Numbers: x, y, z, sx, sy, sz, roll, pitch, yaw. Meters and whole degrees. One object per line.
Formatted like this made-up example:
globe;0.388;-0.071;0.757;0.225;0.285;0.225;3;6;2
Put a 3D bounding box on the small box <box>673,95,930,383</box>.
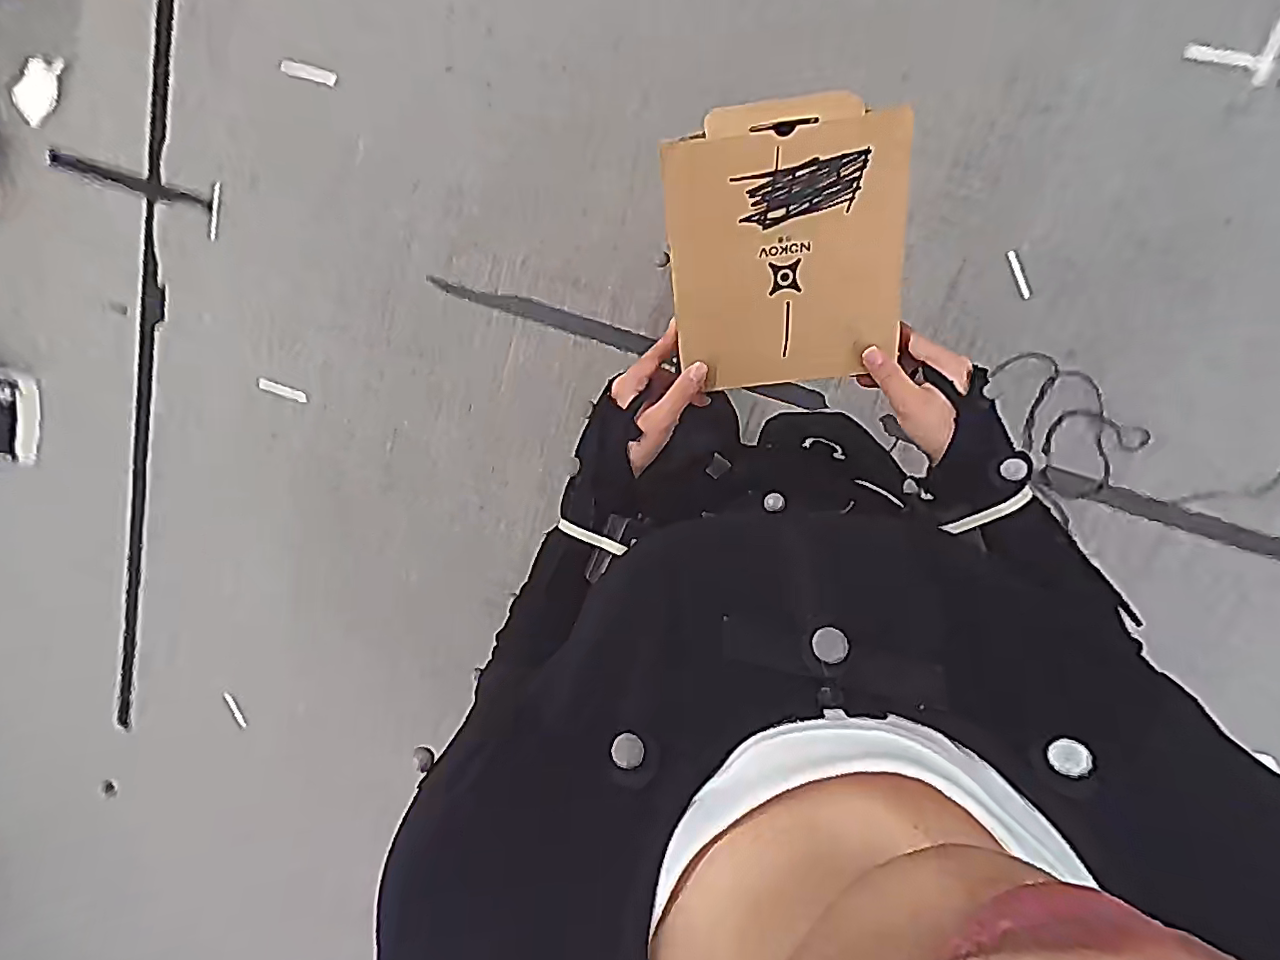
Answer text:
small box;0.116;-0.193;0.455;0.168;0.176;0.179;-4;115;6
